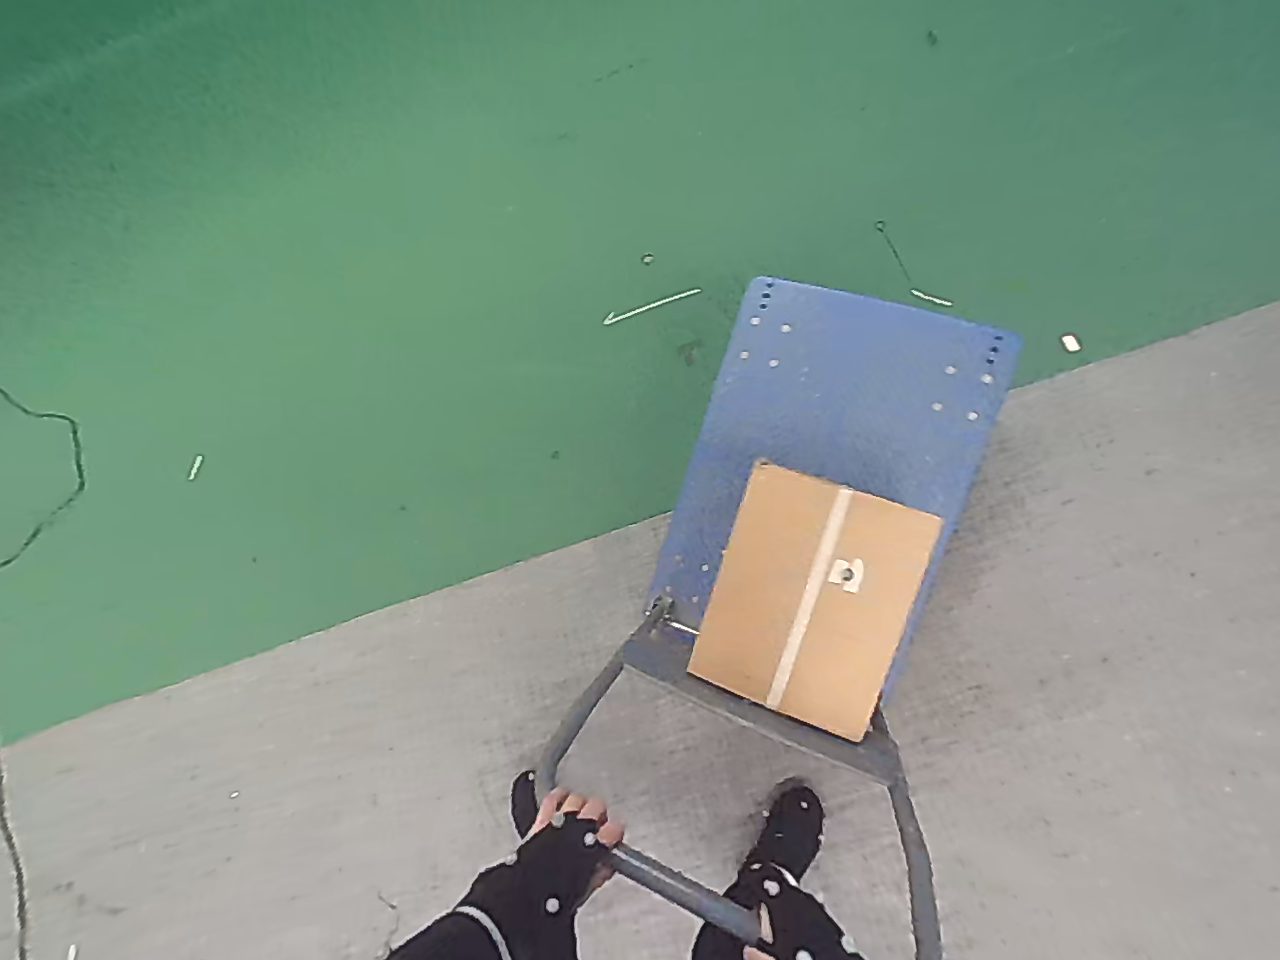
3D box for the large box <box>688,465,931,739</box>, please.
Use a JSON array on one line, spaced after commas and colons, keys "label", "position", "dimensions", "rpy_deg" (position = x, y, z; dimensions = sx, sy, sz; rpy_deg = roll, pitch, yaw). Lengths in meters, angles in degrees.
[{"label": "large box", "position": [0.322, 0.210, 1.081], "dimensions": [0.320, 0.320, 0.408], "rpy_deg": [19, 94, 14]}]
